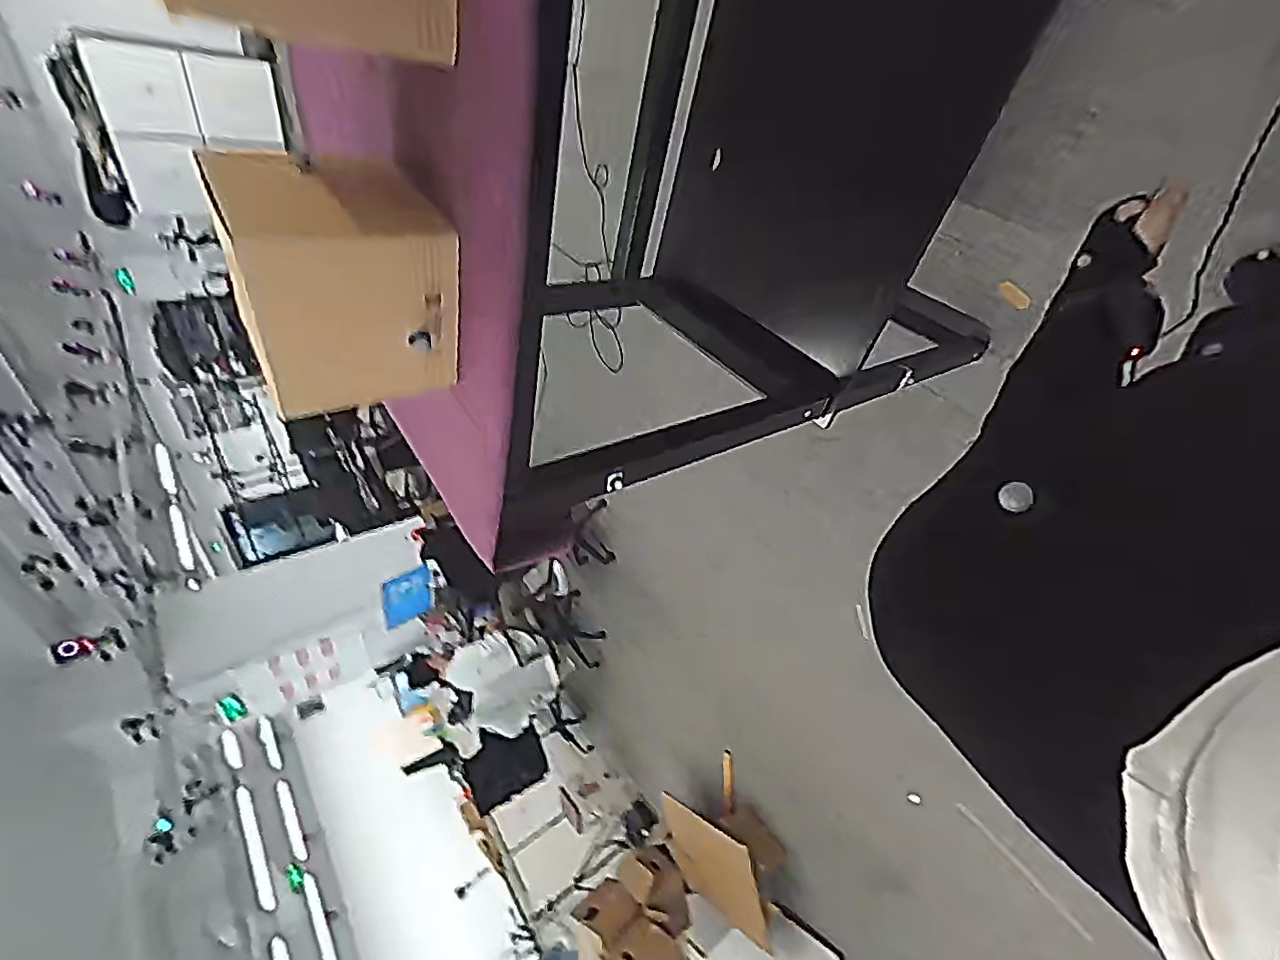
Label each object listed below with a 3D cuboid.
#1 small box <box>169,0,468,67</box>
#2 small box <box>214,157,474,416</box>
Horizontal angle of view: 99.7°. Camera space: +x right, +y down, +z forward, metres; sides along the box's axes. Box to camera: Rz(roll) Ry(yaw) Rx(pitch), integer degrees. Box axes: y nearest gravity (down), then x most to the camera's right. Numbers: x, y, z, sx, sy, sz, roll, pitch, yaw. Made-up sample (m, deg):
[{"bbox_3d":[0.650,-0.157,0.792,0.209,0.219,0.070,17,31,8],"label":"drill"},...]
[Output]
[{"bbox_3d":[-0.221,-0.391,0.345,0.179,0.176,0.168,48,141,30],"label":"small box"},{"bbox_3d":[-0.278,-0.191,0.528,0.179,0.176,0.168,49,142,29],"label":"small box"}]
